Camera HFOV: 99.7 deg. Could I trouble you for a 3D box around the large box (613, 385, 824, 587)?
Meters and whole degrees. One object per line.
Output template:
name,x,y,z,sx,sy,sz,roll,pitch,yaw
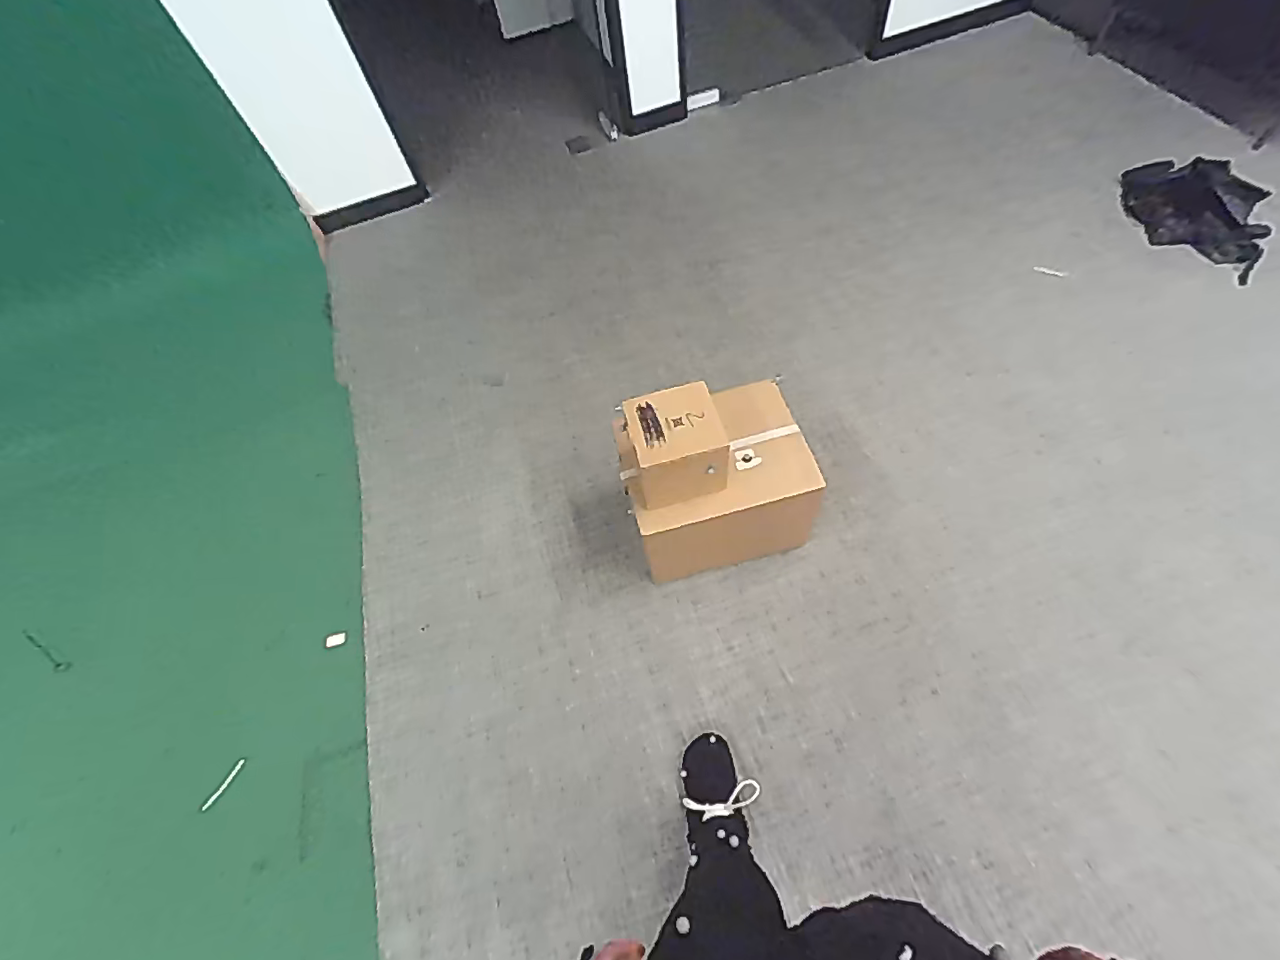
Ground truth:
large box,0.175,0.025,1.325,0.408,0.320,0.320,-15,60,-2
